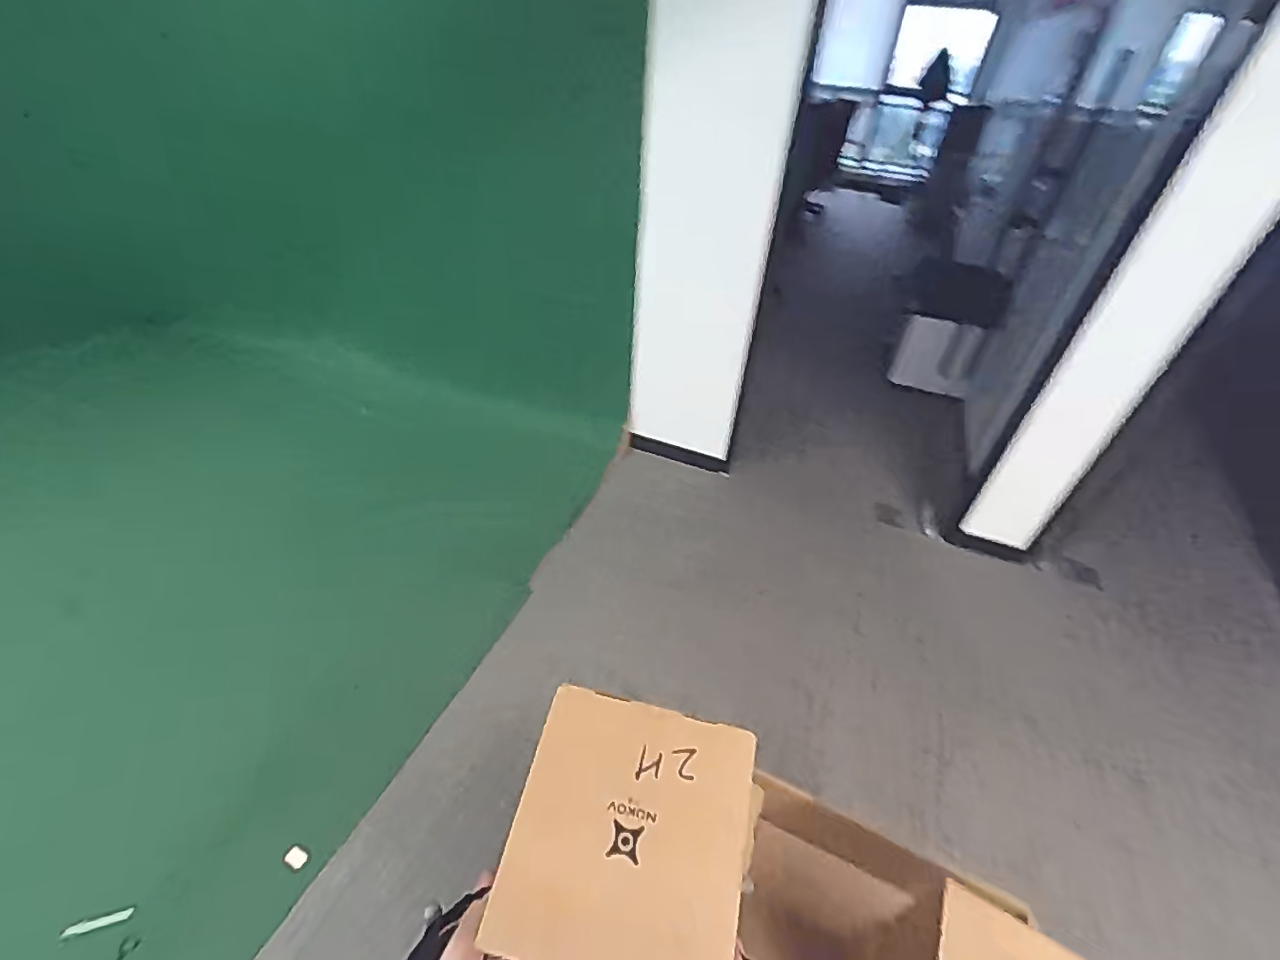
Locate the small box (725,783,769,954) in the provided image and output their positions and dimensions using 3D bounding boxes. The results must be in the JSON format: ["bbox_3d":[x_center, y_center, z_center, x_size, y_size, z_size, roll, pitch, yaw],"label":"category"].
[{"bbox_3d":[0.046,0.475,0.694,0.179,0.176,0.168,18,42,16],"label":"small box"}]

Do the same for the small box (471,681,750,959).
[{"bbox_3d":[-0.013,0.298,0.449,0.168,0.176,0.179,12,52,7],"label":"small box"}]

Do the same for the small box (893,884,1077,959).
[{"bbox_3d":[0.372,0.594,0.576,0.168,0.176,0.179,24,43,22],"label":"small box"}]
